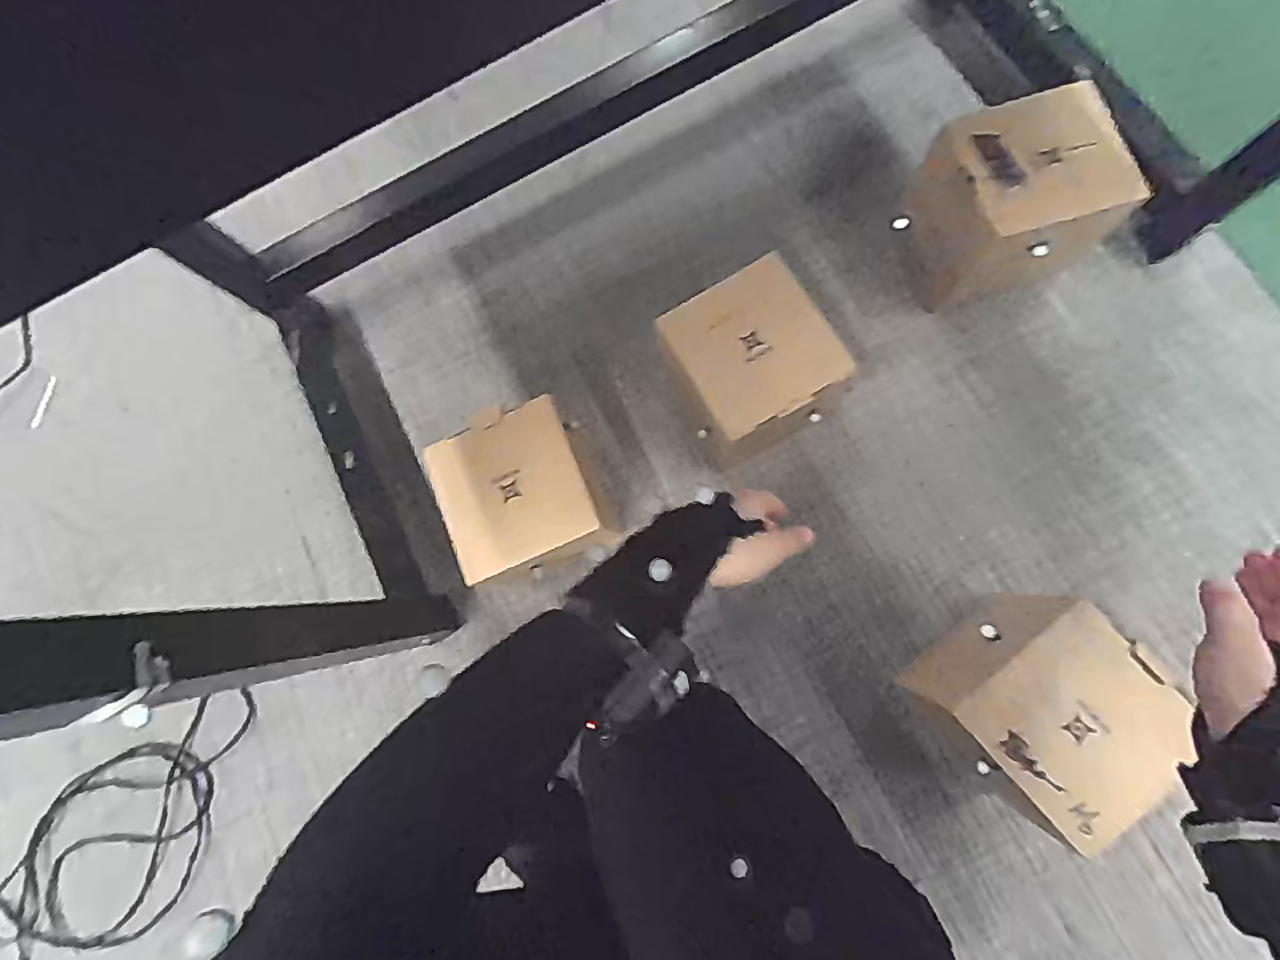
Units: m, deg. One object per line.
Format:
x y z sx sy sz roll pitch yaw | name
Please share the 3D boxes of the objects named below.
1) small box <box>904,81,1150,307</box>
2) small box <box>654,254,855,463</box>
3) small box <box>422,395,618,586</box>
0.463 -0.346 0.688 0.179 0.176 0.168 -15 78 2 | small box
0.136 -0.136 0.686 0.168 0.176 0.179 -29 76 -1 | small box
-0.140 0.023 0.690 0.168 0.176 0.179 -24 77 2 | small box
